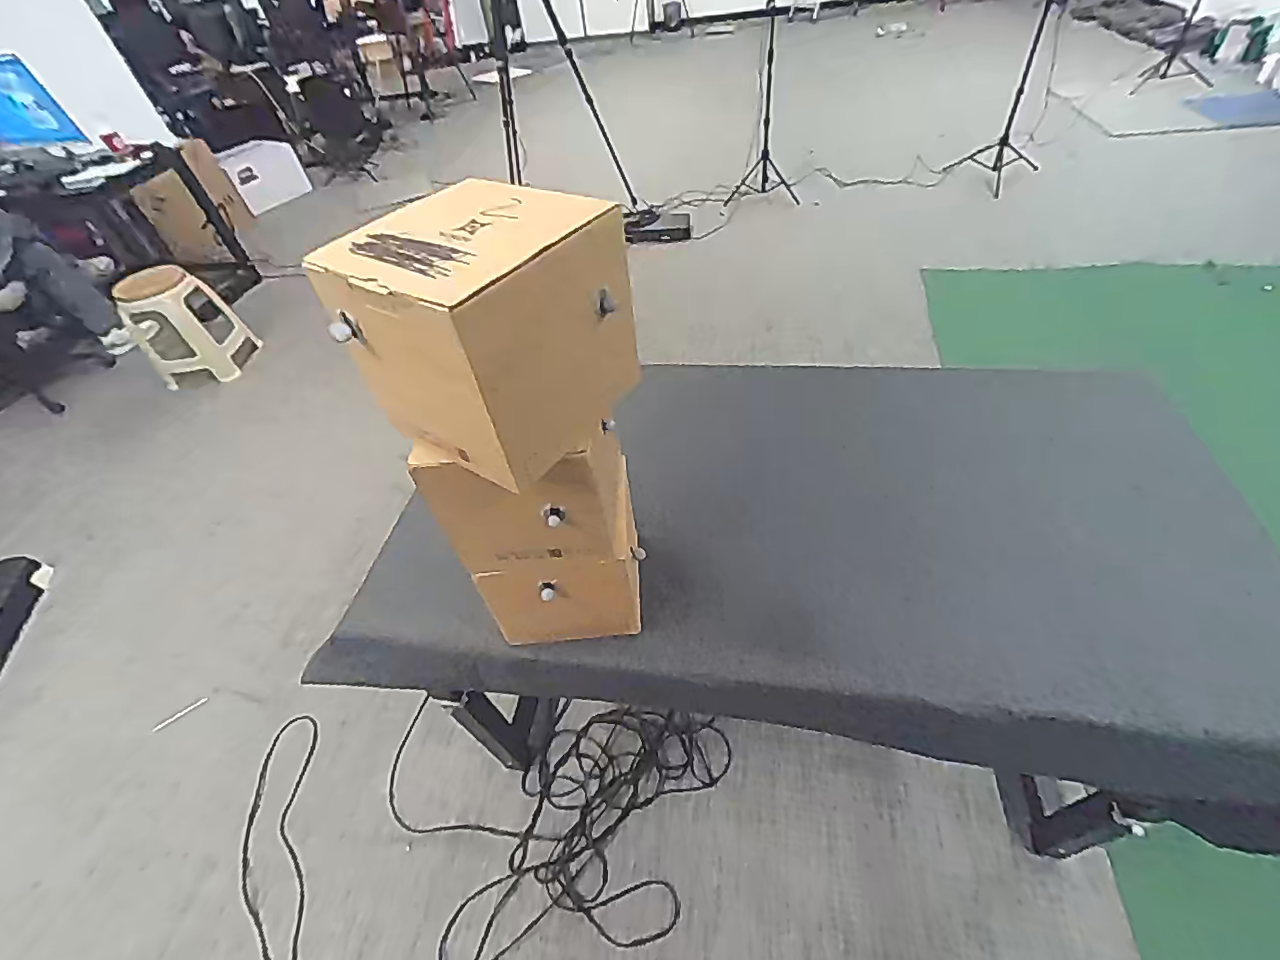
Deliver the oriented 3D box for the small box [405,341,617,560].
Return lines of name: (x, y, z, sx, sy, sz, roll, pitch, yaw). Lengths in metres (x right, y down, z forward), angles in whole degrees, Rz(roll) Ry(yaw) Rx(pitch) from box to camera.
small box: (-0.118, -0.025, 0.583, 0.168, 0.176, 0.179, -3, 45, 4)

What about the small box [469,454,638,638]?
small box: (-0.095, 0.088, 0.697, 0.179, 0.176, 0.168, -6, 46, 3)
